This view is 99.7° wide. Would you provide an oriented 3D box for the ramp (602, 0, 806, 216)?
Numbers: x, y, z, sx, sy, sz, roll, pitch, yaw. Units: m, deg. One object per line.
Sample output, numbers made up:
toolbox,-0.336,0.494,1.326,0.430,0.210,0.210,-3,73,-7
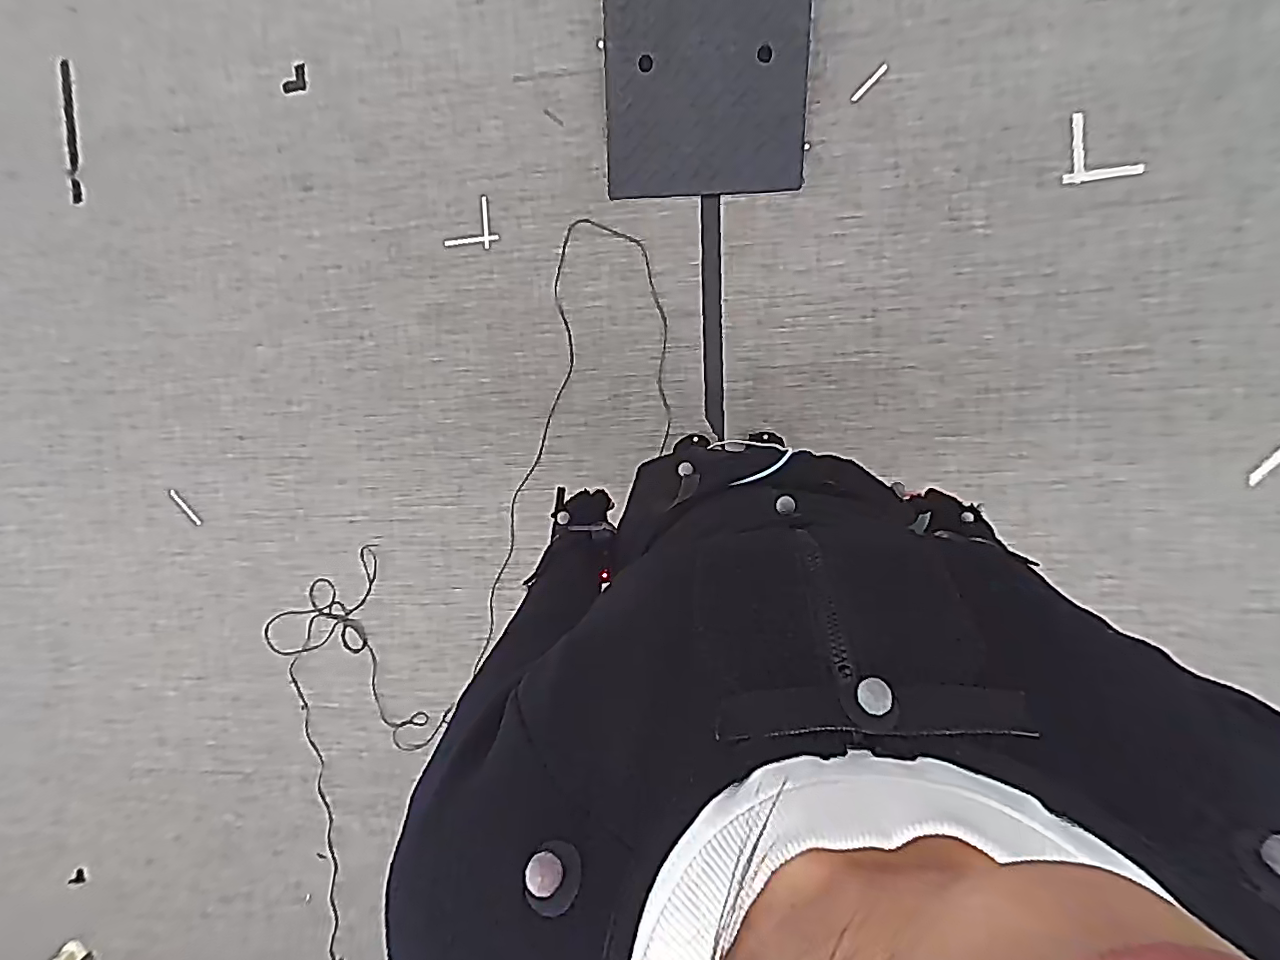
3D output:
ramp,0.148,-1.191,1.291,0.509,0.206,0.991,-3,94,7
